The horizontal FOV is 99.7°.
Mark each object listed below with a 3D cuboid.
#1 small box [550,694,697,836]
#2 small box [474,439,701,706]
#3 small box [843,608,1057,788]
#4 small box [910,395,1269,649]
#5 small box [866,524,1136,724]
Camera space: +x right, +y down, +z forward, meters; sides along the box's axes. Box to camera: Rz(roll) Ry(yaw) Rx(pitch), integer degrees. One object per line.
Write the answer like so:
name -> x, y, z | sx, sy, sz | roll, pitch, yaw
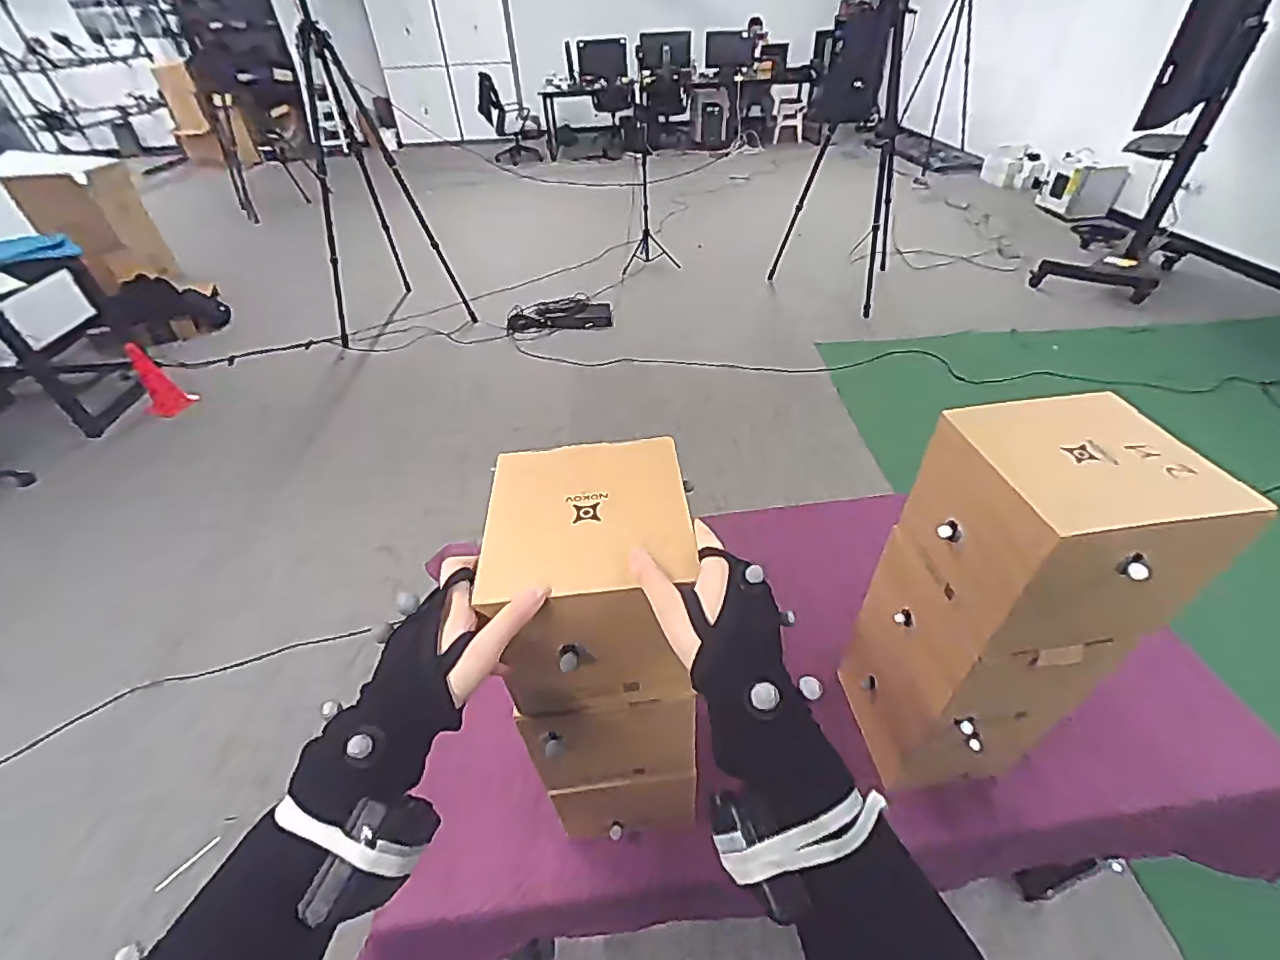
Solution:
small box -> -0.021, 0.335, 0.709 | 0.168, 0.176, 0.179 | -6, 42, -2
small box -> -0.038, 0.087, 0.495 | 0.168, 0.176, 0.179 | -6, 40, -2
small box -> 0.395, 0.285, 0.732 | 0.168, 0.176, 0.179 | -7, 41, -2
small box -> 0.382, 0.042, 0.511 | 0.179, 0.176, 0.168 | -6, 43, -3
small box -> 0.388, 0.161, 0.624 | 0.168, 0.176, 0.179 | -7, 41, -4
